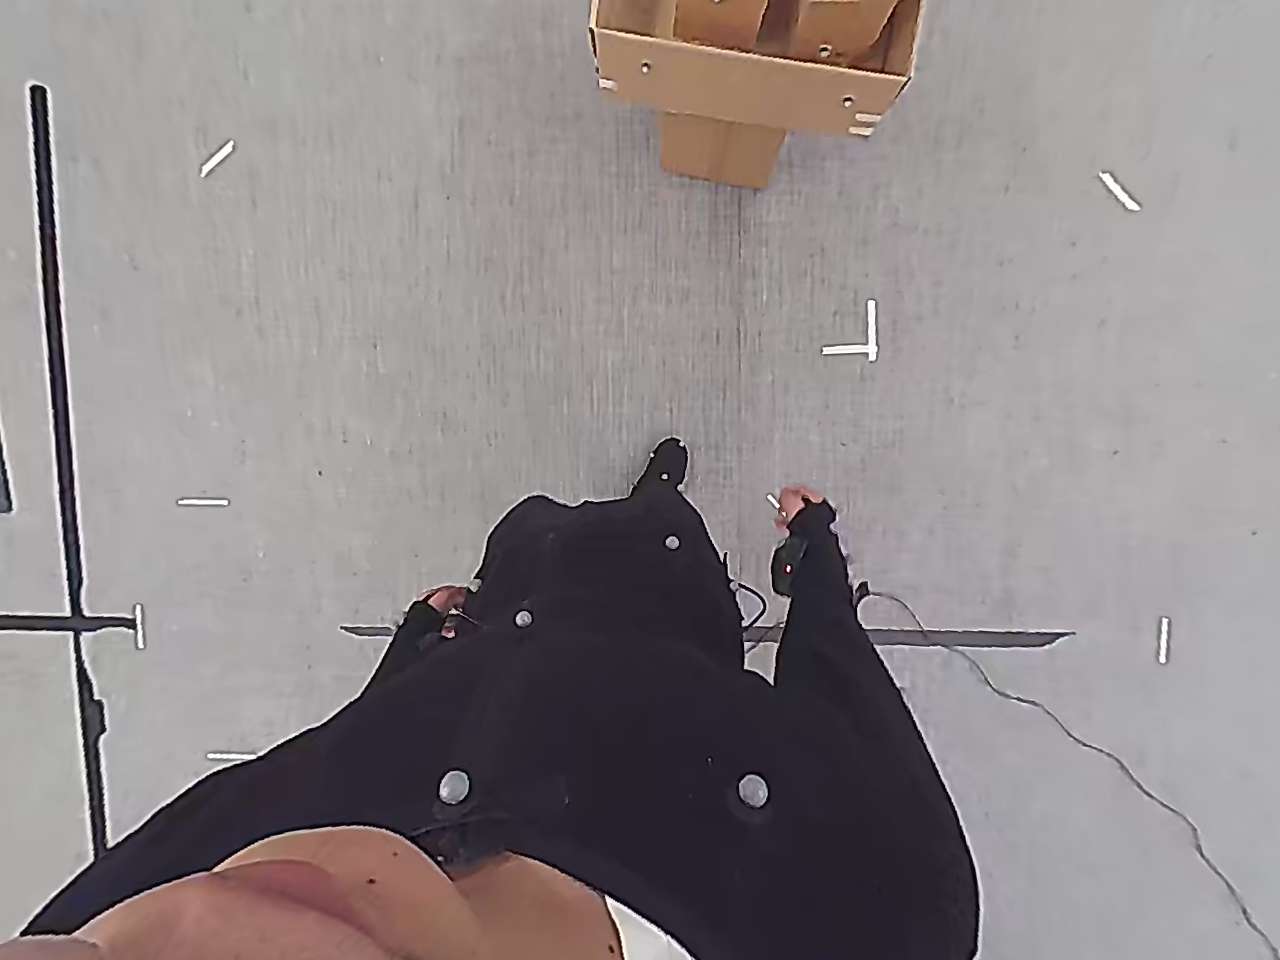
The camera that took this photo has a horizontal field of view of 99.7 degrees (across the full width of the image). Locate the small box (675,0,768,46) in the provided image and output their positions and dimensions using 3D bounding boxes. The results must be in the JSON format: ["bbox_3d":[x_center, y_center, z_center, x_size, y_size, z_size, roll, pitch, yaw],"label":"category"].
[{"bbox_3d":[0.170,-0.991,1.045,0.179,0.176,0.168,10,93,0],"label":"small box"}]
